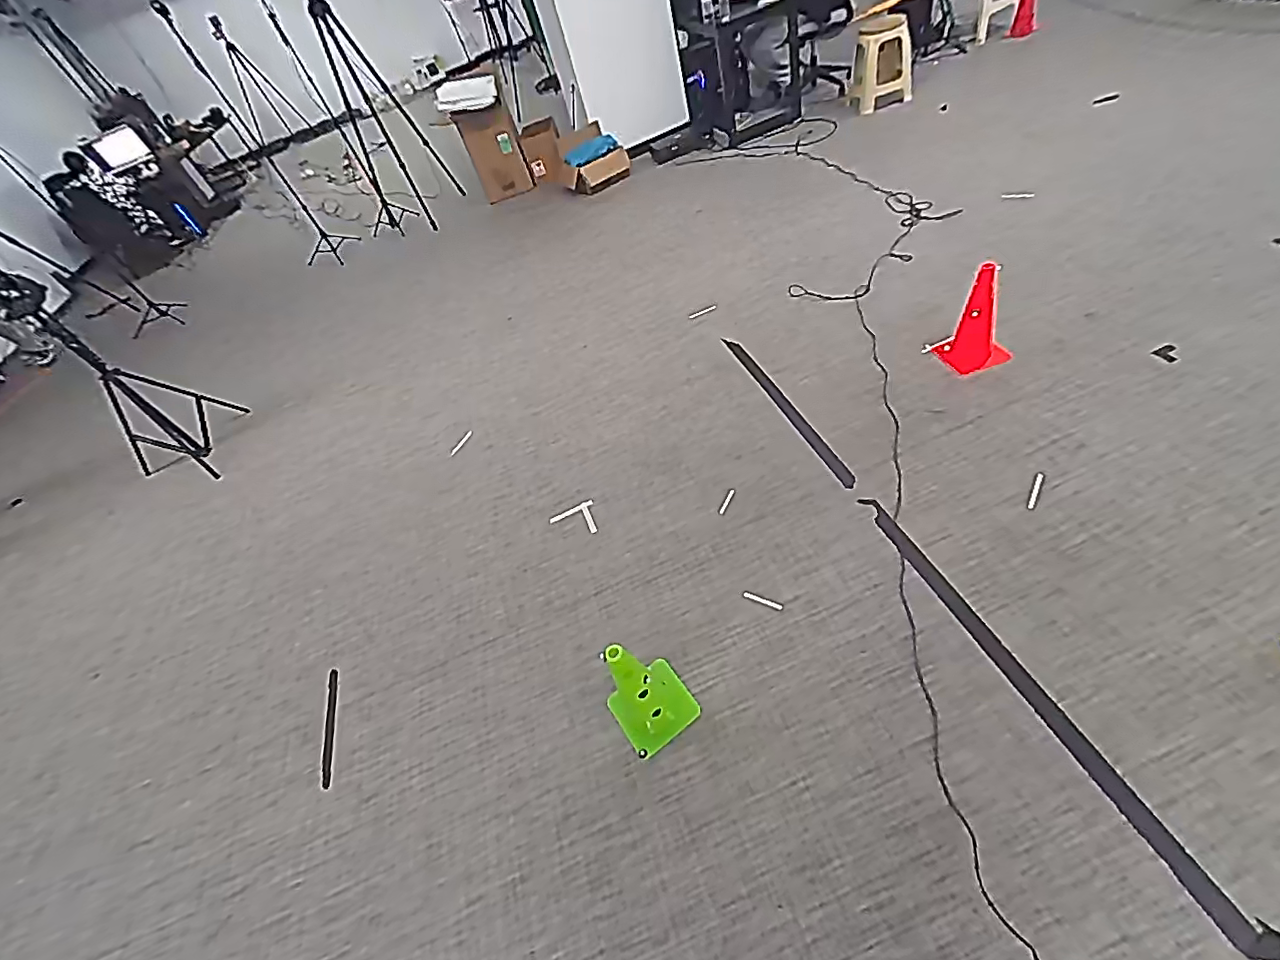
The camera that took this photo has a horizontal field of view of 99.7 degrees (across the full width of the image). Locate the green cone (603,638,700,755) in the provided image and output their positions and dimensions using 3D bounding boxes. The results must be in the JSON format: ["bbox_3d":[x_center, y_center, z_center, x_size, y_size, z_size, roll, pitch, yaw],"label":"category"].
[{"bbox_3d":[-0.010,0.494,1.342,0.200,0.368,0.202,-35,45,-13],"label":"green cone"}]

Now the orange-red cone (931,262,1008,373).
[{"bbox_3d":[1.173,-0.584,1.880,0.198,0.360,0.199,-19,47,4],"label":"orange-red cone"}]
